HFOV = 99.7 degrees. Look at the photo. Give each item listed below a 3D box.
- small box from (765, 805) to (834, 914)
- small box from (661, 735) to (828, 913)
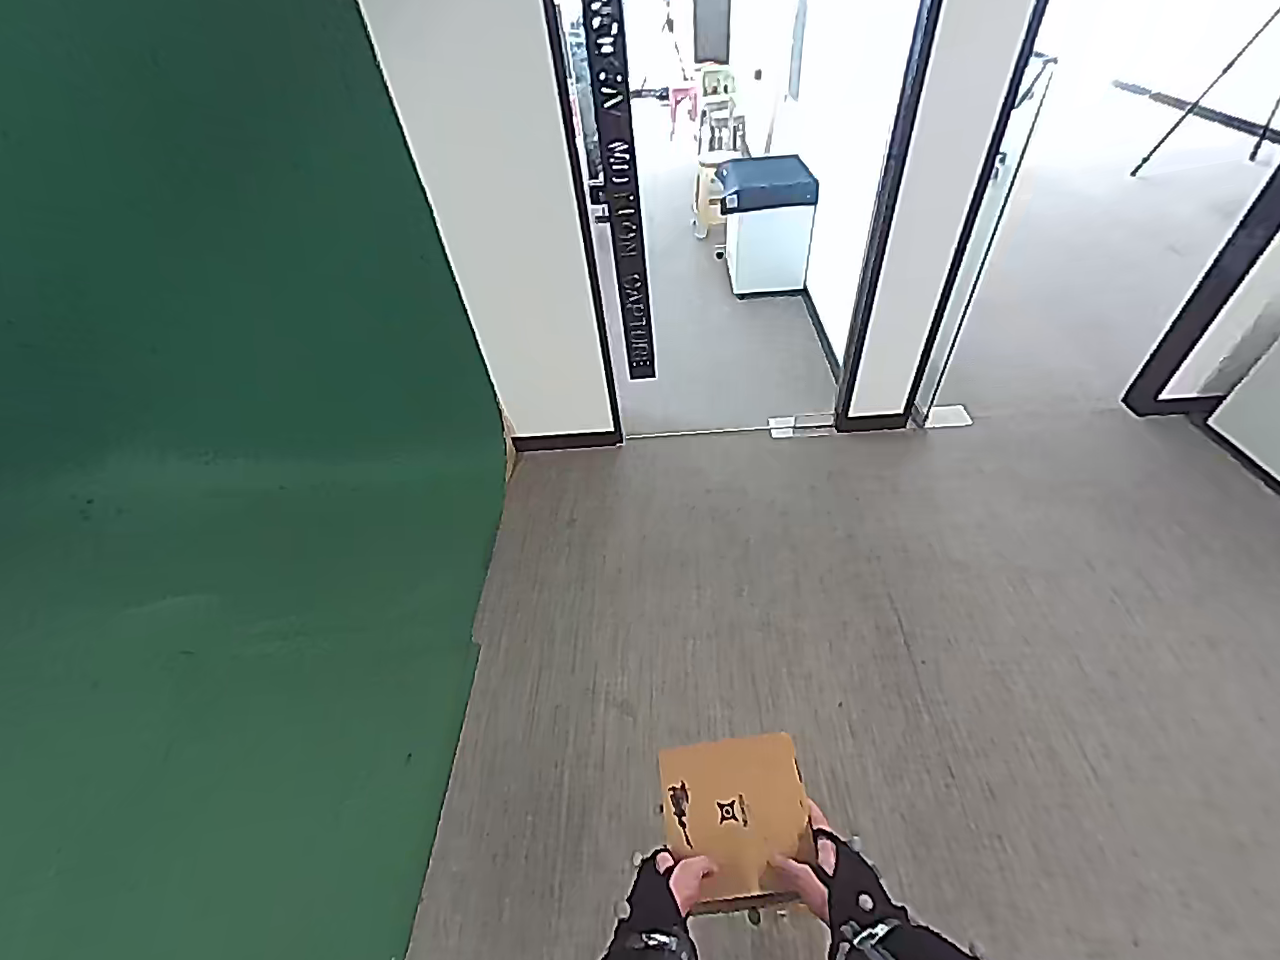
[{"bbox_3d":[0.327,0.847,1.212,0.168,0.176,0.179,-2,46,8],"label":"small box"},{"bbox_3d":[0.128,0.454,0.711,0.179,0.176,0.168,-9,47,4],"label":"small box"}]
